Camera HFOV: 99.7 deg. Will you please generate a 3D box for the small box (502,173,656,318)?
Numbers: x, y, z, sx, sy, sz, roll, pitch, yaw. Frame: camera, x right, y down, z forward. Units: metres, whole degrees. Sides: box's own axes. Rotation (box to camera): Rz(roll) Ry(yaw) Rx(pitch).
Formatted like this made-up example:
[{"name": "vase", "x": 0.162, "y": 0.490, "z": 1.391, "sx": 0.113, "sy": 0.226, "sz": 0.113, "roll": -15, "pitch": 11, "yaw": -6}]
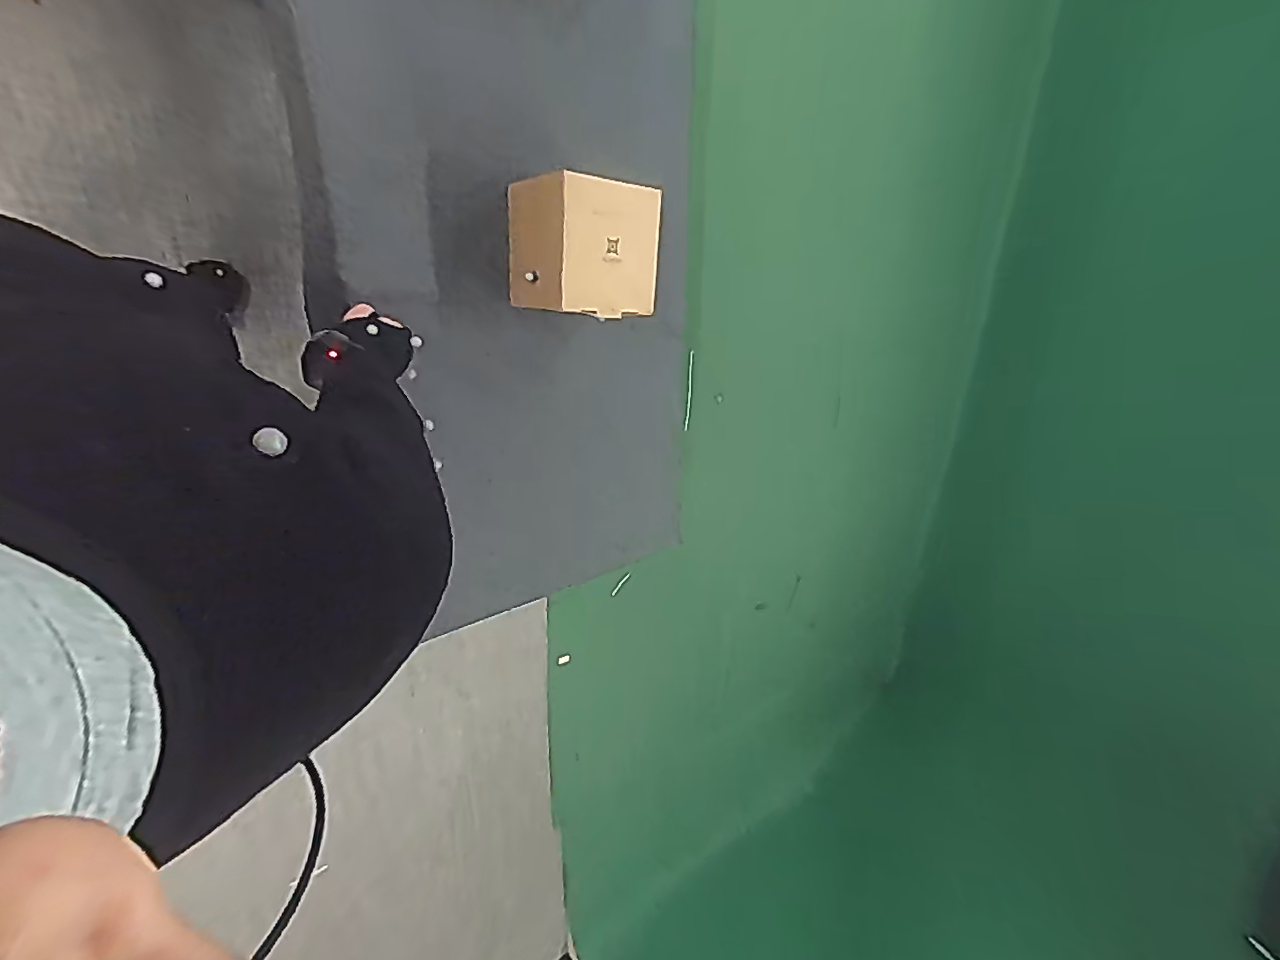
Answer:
[{"name": "small box", "x": -0.096, "y": -0.341, "z": 0.815, "sx": 0.168, "sy": 0.176, "sz": 0.179, "roll": -12, "pitch": 114, "yaw": -38}]
